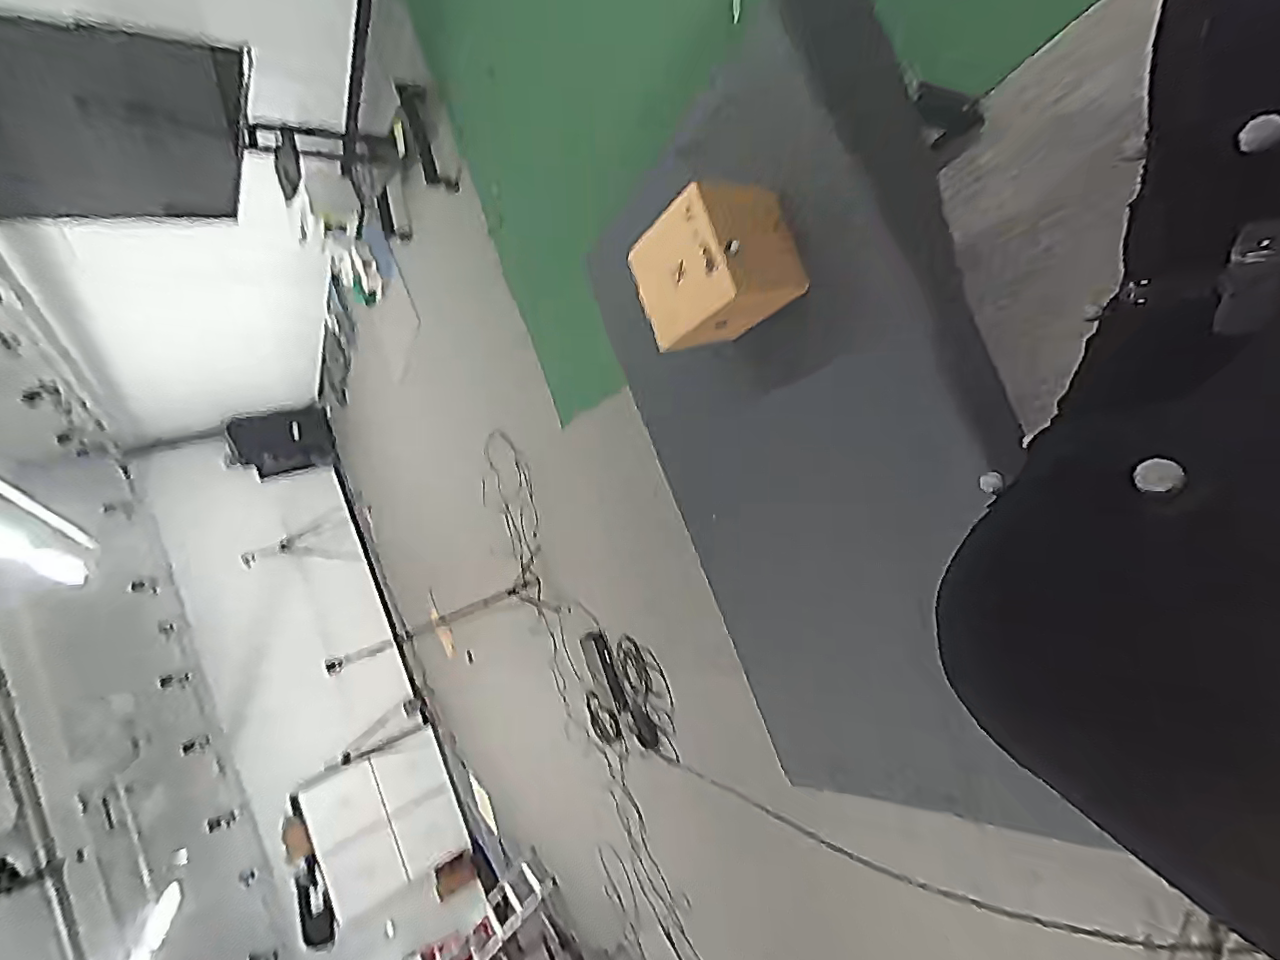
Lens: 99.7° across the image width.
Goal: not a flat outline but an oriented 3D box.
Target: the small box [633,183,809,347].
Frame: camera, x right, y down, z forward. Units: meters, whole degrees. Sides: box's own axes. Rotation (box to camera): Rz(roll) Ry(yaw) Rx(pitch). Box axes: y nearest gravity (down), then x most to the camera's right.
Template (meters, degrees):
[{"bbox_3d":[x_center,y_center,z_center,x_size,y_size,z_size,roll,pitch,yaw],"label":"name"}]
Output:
[{"bbox_3d":[0.123,-0.325,0.834,0.179,0.176,0.168,-24,87,55],"label":"small box"}]
